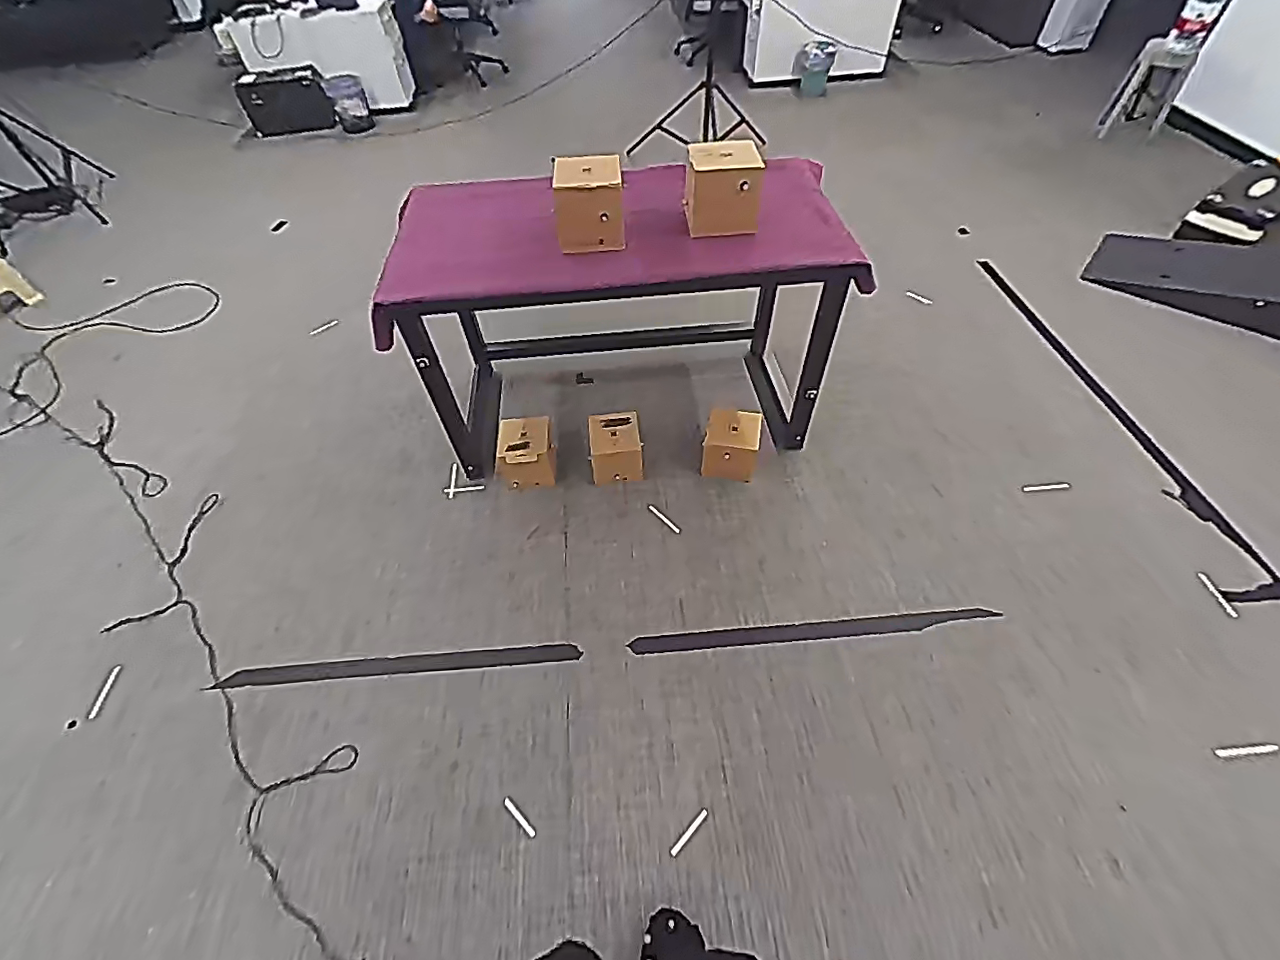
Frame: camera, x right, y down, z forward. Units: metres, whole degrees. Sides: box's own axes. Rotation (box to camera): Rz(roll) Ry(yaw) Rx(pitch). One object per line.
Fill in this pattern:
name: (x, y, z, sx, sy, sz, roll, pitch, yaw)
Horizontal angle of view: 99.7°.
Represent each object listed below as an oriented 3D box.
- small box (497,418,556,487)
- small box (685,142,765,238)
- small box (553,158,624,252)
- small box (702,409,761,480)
small box: (-0.382, -0.089, 1.847, 0.168, 0.176, 0.179, -4, 51, -1)
small box: (0.215, -0.757, 1.417, 0.179, 0.176, 0.168, -4, 51, 0)
small box: (-0.128, -0.703, 1.391, 0.168, 0.176, 0.179, -4, 50, -2)
small box: (0.309, -0.116, 1.841, 0.179, 0.176, 0.168, 7, 54, 10)
